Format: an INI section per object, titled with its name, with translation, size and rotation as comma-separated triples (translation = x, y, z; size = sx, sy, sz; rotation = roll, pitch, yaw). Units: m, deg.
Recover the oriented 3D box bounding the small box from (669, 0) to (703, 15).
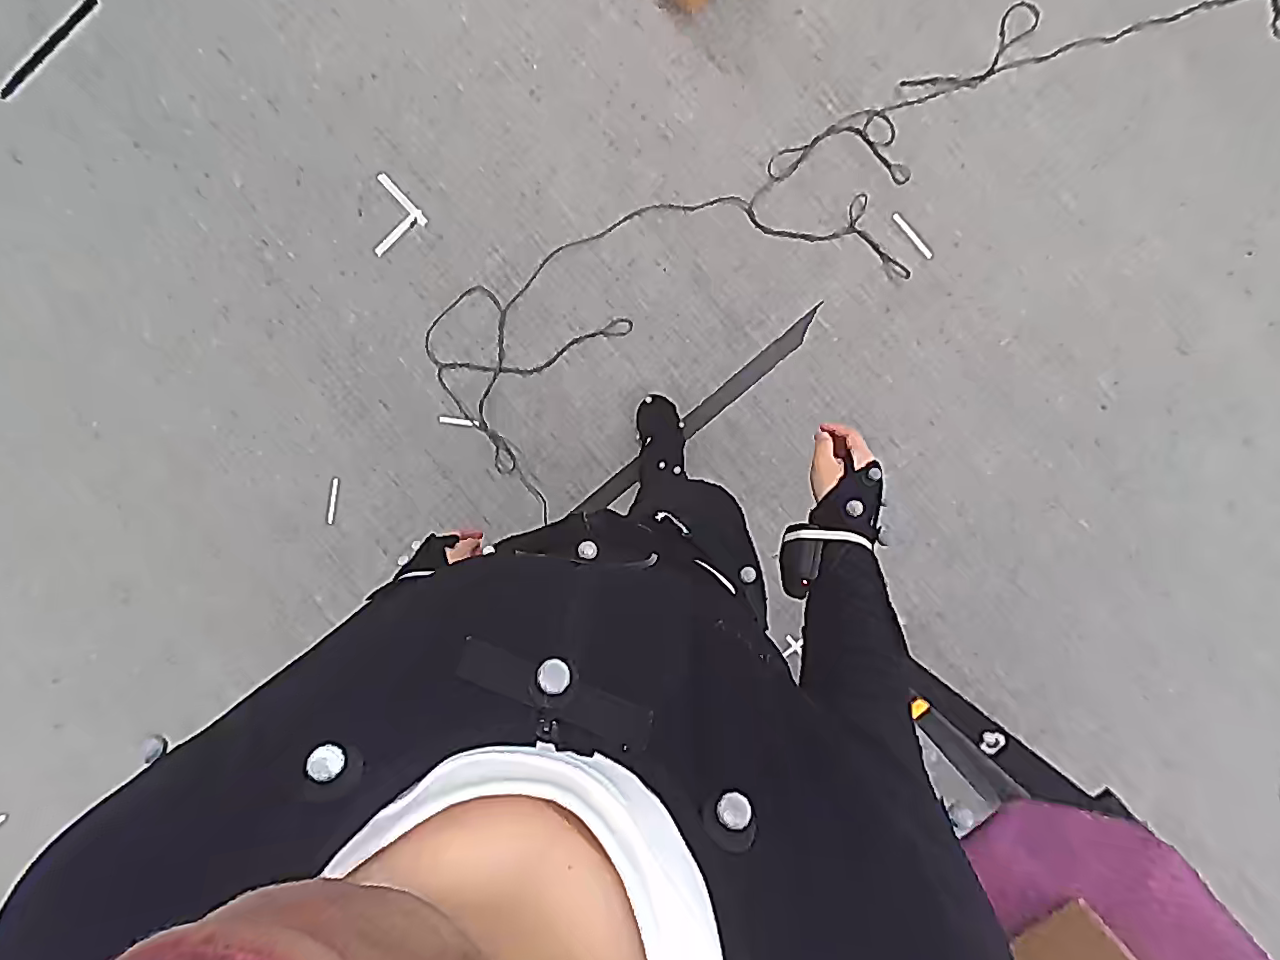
[small box]
translation = 0.116, -1.255, 1.249
size = 0.168, 0.176, 0.179
rotation = 43, 93, 1
